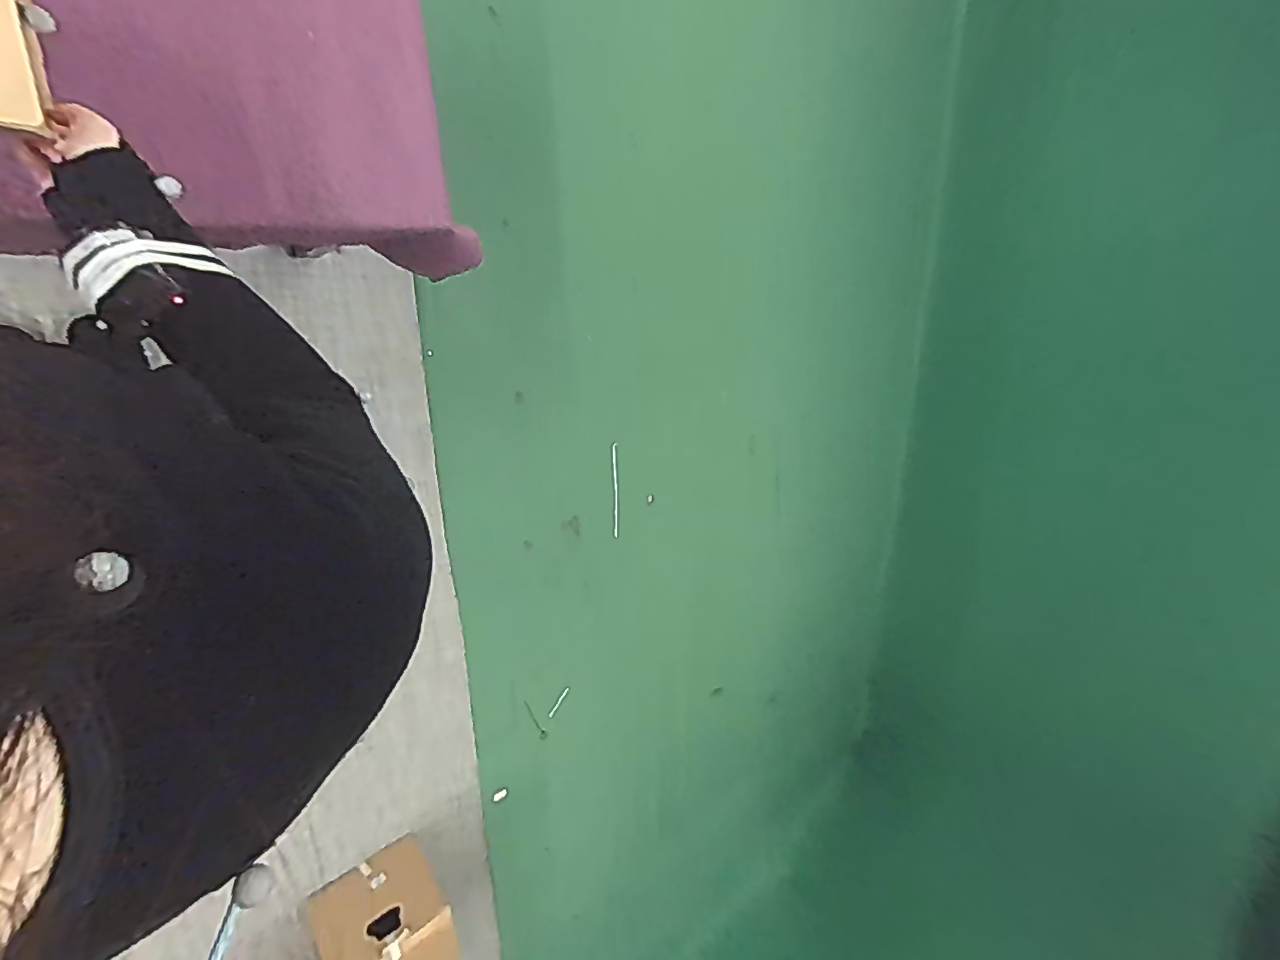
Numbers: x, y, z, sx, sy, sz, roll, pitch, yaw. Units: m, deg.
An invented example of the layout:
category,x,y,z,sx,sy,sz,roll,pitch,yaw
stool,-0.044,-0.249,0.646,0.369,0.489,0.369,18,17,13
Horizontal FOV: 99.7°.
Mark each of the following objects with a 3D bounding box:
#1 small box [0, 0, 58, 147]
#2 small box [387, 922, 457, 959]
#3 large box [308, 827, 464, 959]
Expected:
category,x,y,z,sx,sy,sz,roll,pitch,yaw
small box,-0.475,-0.310,0.312,0.168,0.176,0.179,-11,119,-41
small box,-0.591,1.377,1.467,0.179,0.176,0.168,-20,117,-39
large box,-0.765,1.391,1.652,0.320,0.320,0.408,-18,116,-38
